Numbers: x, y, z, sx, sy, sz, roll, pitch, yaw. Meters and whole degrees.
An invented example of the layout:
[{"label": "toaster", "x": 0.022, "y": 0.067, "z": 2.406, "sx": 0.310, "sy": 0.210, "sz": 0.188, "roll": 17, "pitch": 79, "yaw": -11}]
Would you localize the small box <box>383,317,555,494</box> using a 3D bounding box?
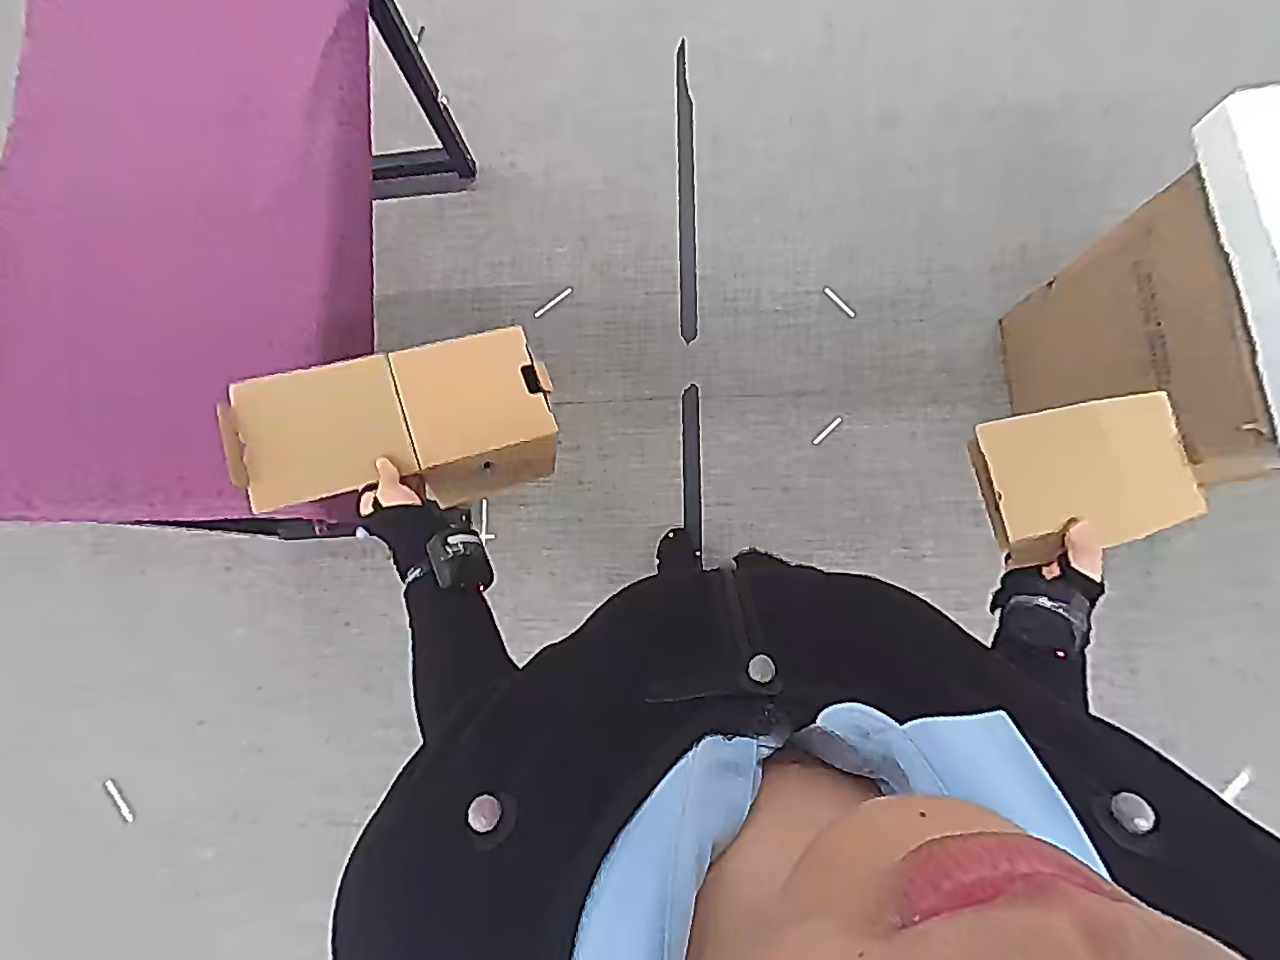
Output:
[{"label": "small box", "x": -0.225, "y": -0.094, "z": 0.744, "sx": 0.179, "sy": 0.176, "sz": 0.168, "roll": -17, "pitch": 78, "yaw": -16}]
